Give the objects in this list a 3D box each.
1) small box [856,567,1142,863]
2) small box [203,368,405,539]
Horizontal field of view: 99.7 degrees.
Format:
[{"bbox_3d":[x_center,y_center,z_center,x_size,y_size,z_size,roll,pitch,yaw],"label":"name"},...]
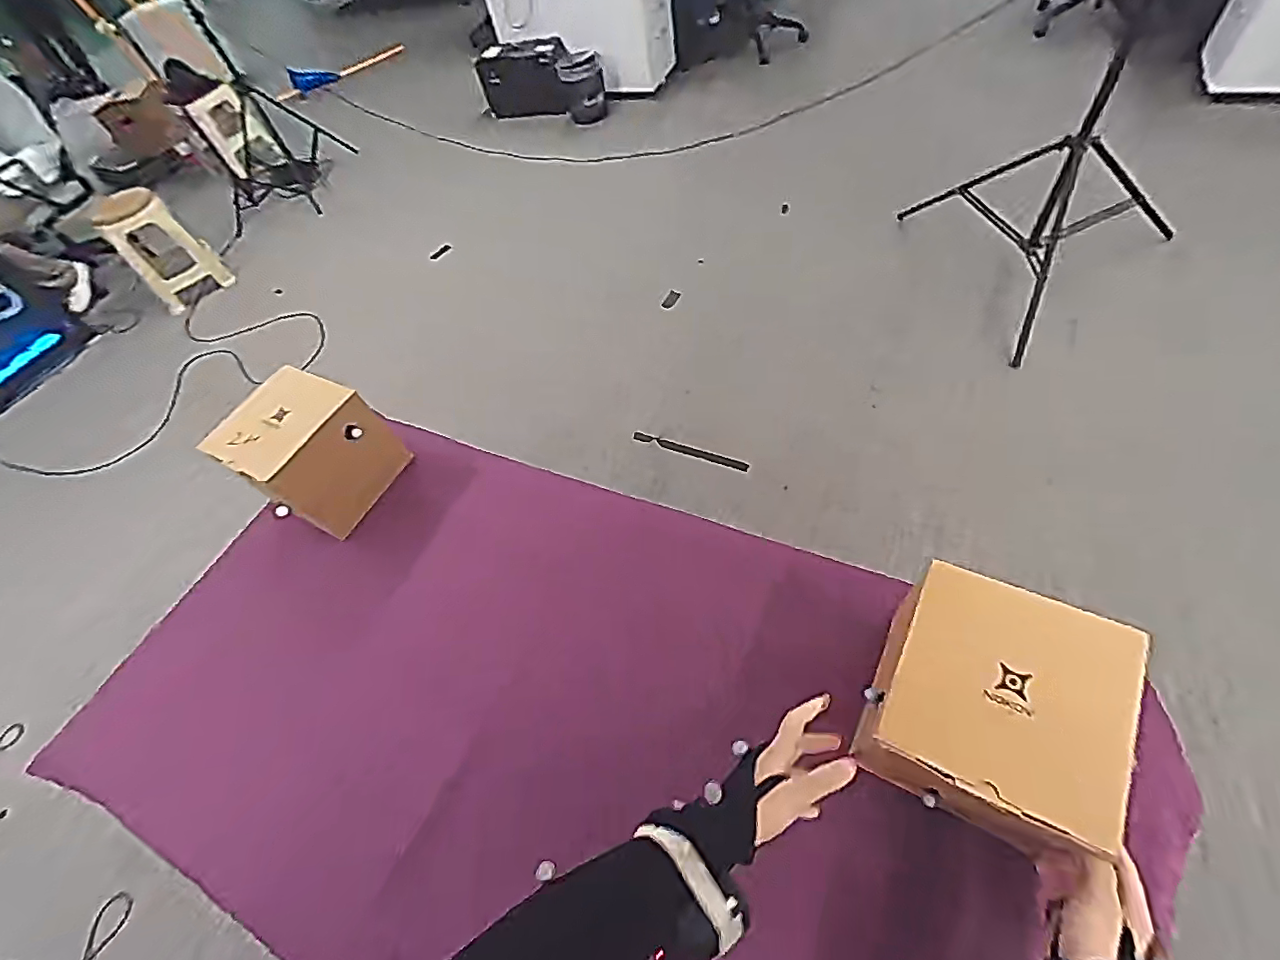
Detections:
[{"bbox_3d":[0.317,0.215,0.509,0.168,0.176,0.179,20,66,23],"label":"small box"},{"bbox_3d":[-0.499,-0.039,0.839,0.168,0.176,0.179,20,64,23],"label":"small box"}]
